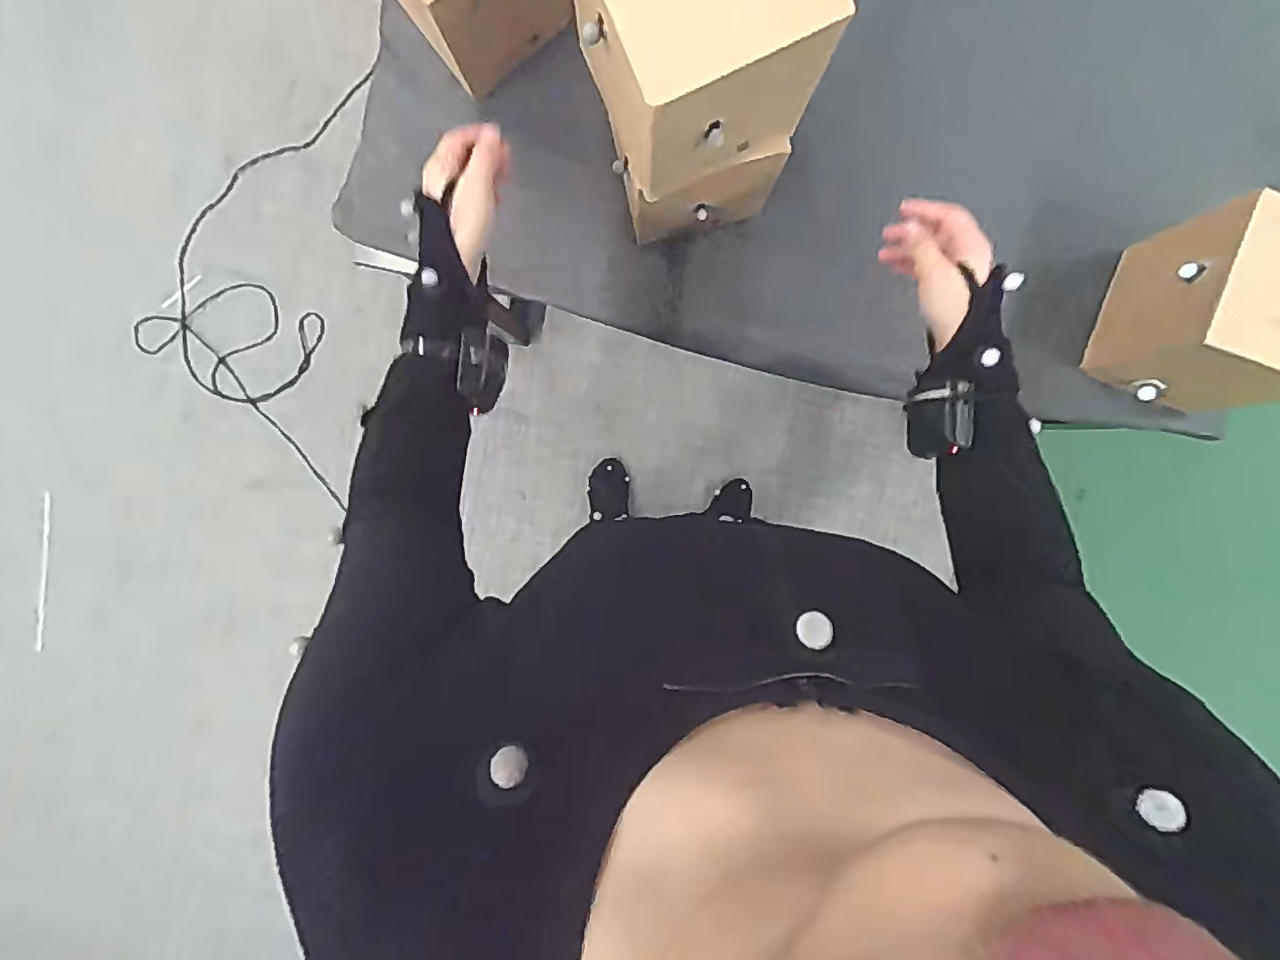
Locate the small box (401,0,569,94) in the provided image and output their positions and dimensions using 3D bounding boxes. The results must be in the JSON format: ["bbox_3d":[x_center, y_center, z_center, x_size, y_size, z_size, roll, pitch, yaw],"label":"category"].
[{"bbox_3d":[-0.204,-0.608,0.621,0.168,0.176,0.179,-38,94,4],"label":"small box"}]

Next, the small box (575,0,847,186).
[{"bbox_3d":[0.048,-0.391,0.471,0.168,0.176,0.179,-24,93,3],"label":"small box"}]

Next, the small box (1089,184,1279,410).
[{"bbox_3d":[0.686,-0.196,0.631,0.168,0.176,0.179,20,92,1],"label":"small box"}]

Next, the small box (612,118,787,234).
[{"bbox_3d":[0.058,-0.409,0.632,0.168,0.176,0.179,-13,94,2],"label":"small box"}]
